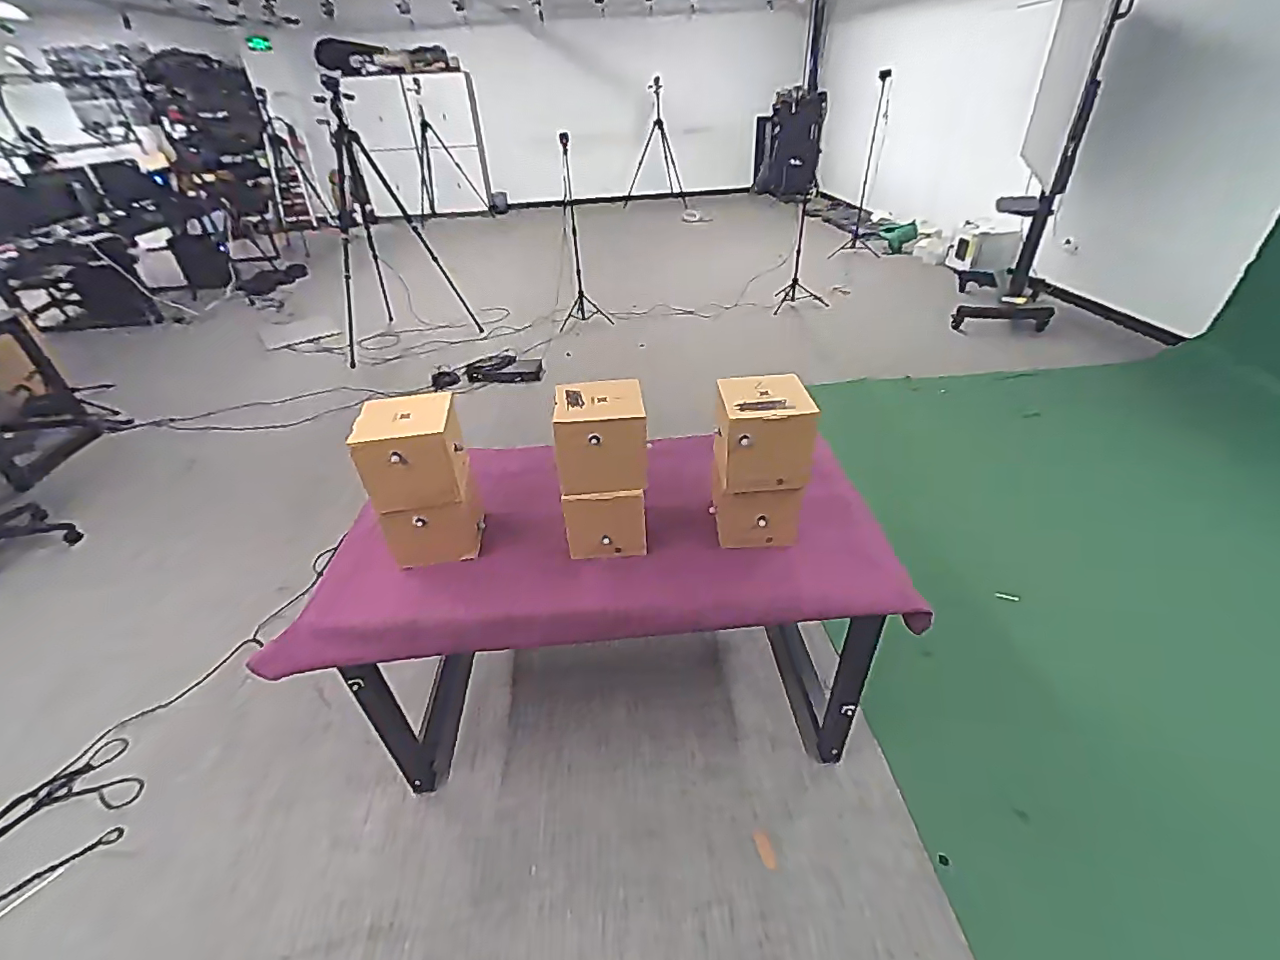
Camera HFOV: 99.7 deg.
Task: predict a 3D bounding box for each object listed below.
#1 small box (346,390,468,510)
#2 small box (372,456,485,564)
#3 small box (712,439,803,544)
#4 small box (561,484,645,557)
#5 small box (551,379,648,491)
[{"bbox_3d":[-0.454,-0.060,1.089,0.179,0.176,0.168,-8,37,-6],"label":"small box"},{"bbox_3d":[-0.453,0.068,1.187,0.179,0.176,0.168,-6,37,-6],"label":"small box"},{"bbox_3d":[0.250,0.029,1.189,0.168,0.176,0.179,-2,36,1],"label":"small box"},{"bbox_3d":[-0.076,0.048,1.186,0.168,0.176,0.179,-3,36,0],"label":"small box"},{"bbox_3d":[-0.079,-0.091,1.098,0.179,0.176,0.168,-4,35,-3],"label":"small box"}]
